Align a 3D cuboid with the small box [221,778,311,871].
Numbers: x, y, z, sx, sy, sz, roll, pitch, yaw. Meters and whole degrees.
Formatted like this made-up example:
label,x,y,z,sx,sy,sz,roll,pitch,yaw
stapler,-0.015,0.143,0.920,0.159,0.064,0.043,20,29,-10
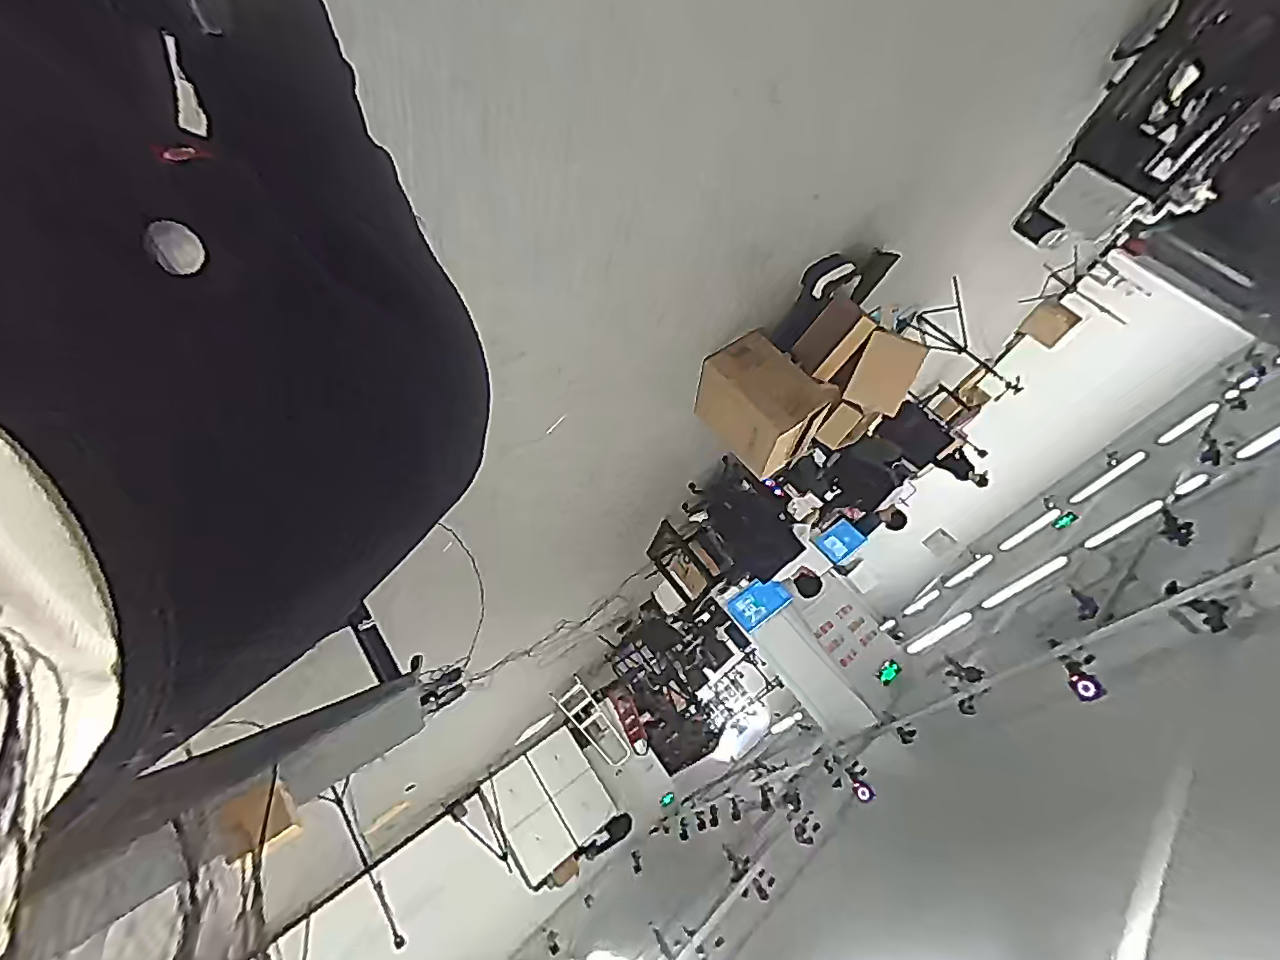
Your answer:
label,x,y,z,sx,sy,sz,roll,pitch,yaw
small box,-1.166,1.072,1.683,0.179,0.176,0.168,-27,157,-33
